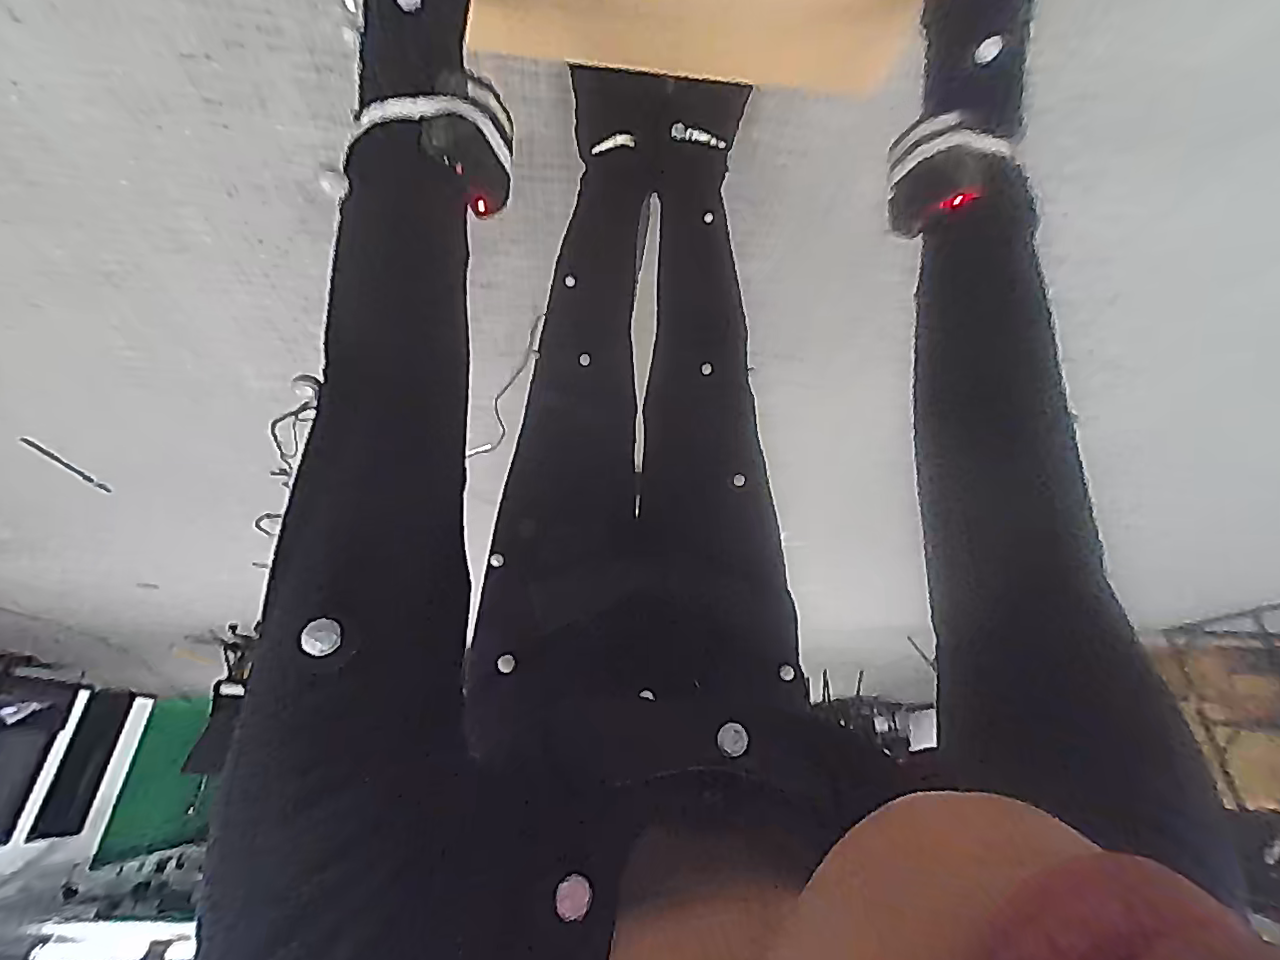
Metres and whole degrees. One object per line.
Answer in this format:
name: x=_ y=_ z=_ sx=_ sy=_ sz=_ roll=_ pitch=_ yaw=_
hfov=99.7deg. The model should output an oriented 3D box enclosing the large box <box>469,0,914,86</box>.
large box: x=0.051 y=-0.601 z=0.460 sx=0.408 sy=0.320 sz=0.320 roll=2 pitch=154 yaw=-6
